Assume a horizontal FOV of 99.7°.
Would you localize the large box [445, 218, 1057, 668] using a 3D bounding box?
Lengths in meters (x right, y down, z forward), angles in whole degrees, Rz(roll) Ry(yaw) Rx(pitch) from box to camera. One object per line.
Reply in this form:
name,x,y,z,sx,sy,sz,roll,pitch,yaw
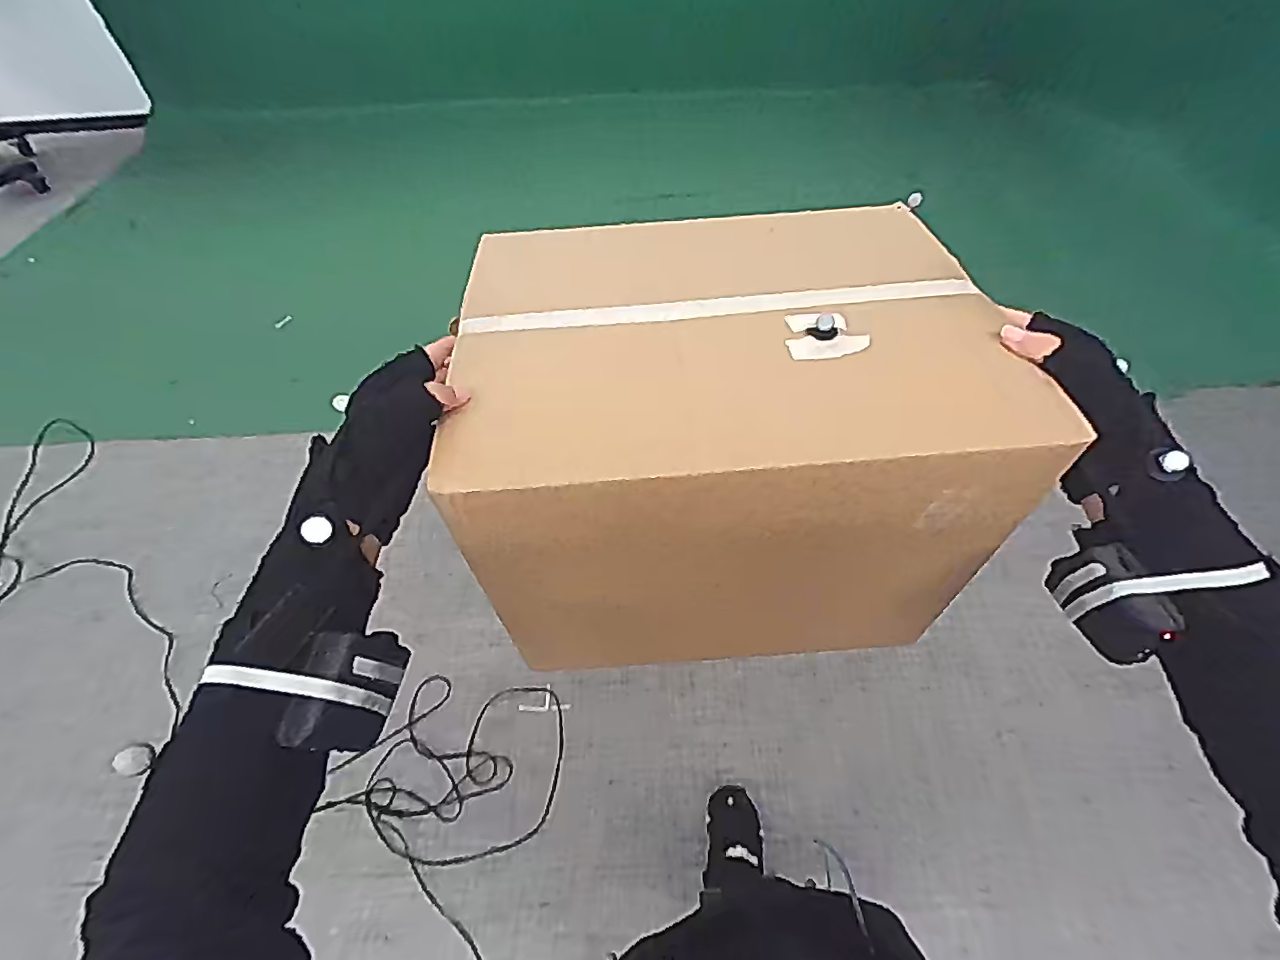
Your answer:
large box,0.065,-0.030,0.549,0.408,0.320,0.320,-5,52,-1
